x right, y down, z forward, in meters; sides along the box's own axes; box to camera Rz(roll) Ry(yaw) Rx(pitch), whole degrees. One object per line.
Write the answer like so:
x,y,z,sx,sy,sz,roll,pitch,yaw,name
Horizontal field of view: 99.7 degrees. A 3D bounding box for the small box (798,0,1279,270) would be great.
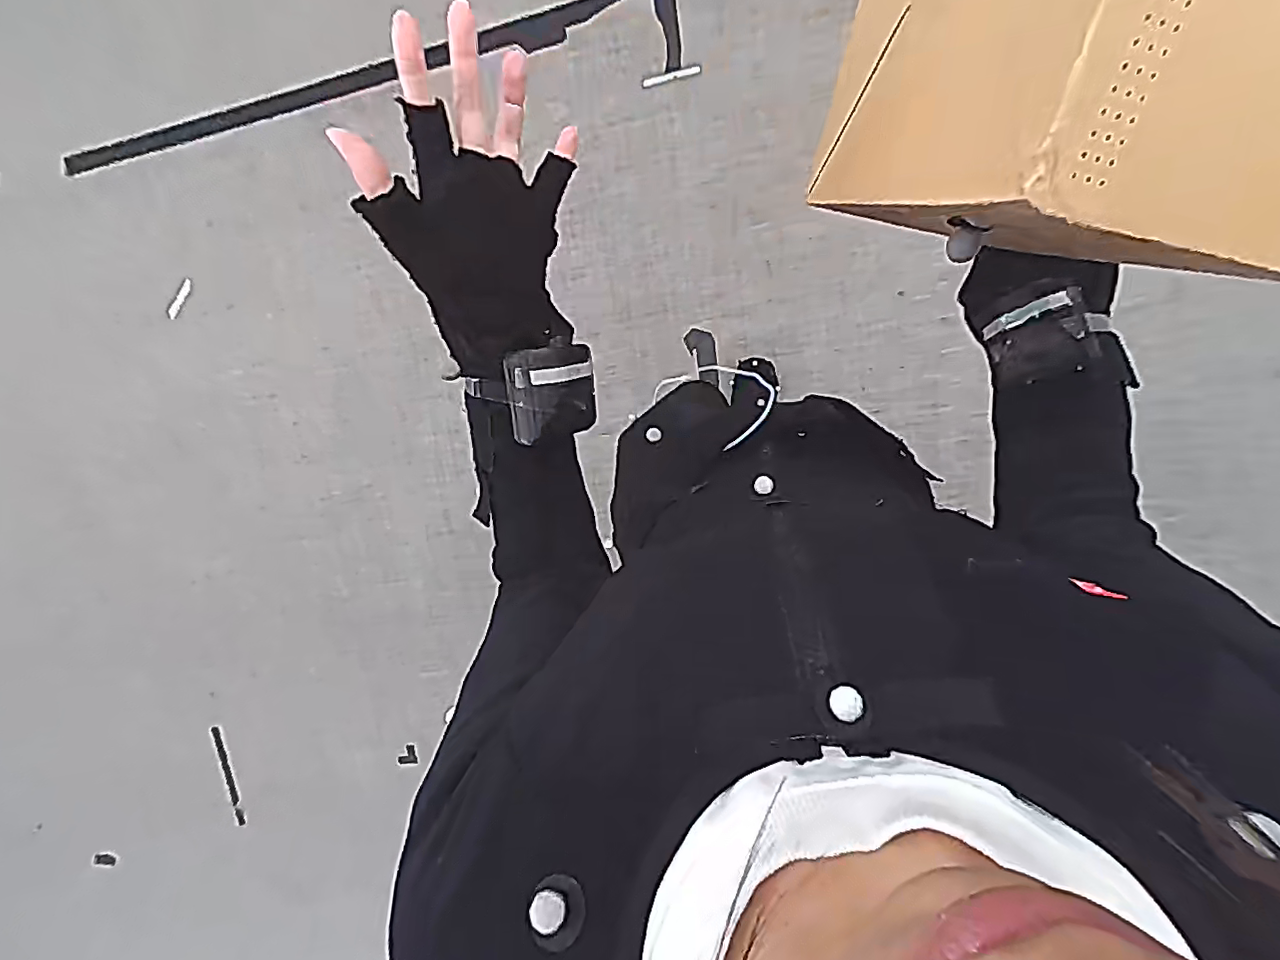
0.204,-0.211,0.259,0.176,0.168,0.179,4,115,-15,small box
